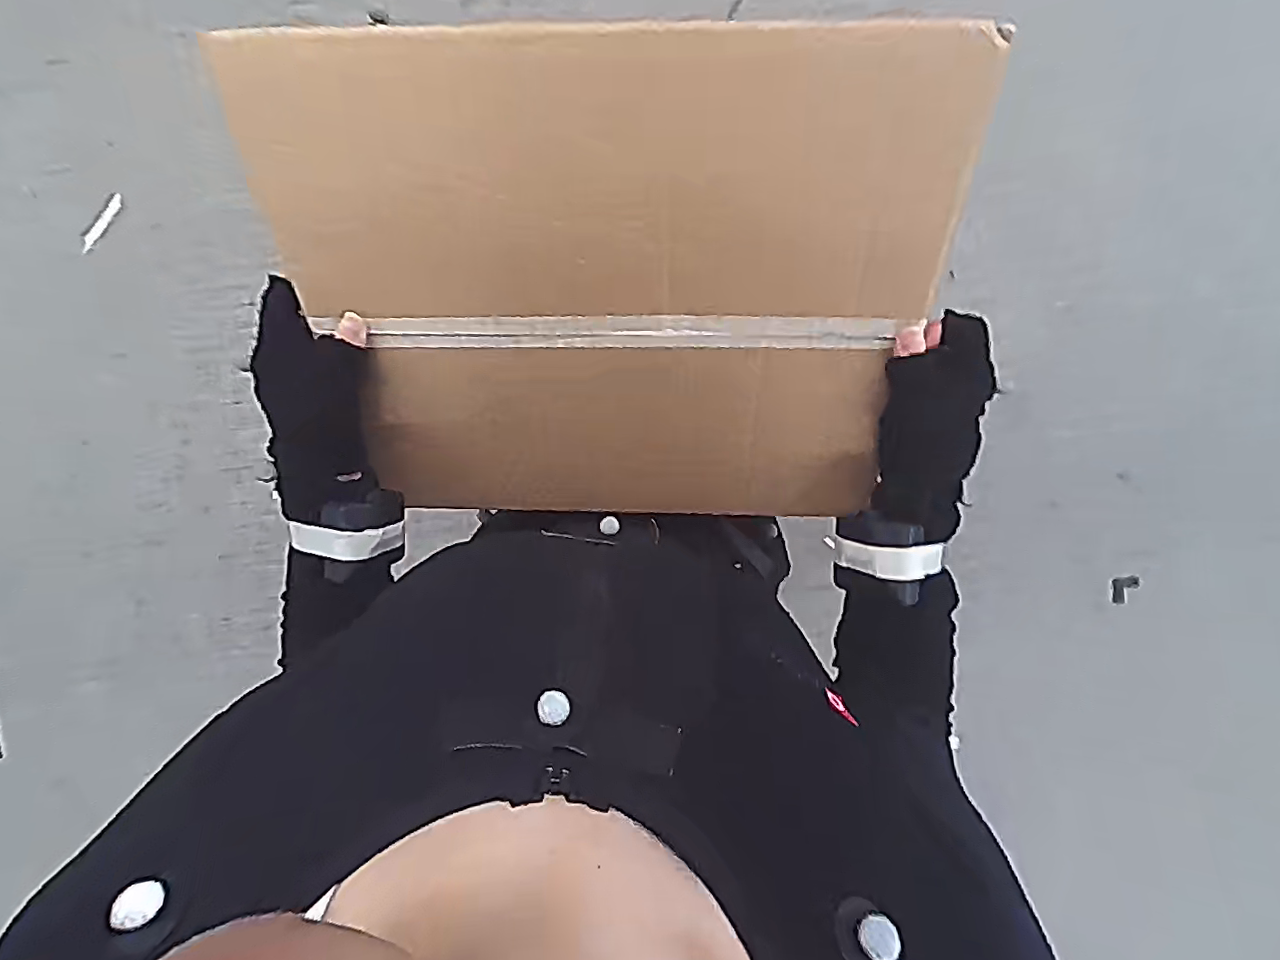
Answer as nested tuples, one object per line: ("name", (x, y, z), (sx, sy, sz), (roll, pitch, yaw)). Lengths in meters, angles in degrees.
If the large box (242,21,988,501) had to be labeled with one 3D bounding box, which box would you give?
("large box", (-0.013, -0.195, 0.489), (0.408, 0.320, 0.320), (1, 128, 2))
